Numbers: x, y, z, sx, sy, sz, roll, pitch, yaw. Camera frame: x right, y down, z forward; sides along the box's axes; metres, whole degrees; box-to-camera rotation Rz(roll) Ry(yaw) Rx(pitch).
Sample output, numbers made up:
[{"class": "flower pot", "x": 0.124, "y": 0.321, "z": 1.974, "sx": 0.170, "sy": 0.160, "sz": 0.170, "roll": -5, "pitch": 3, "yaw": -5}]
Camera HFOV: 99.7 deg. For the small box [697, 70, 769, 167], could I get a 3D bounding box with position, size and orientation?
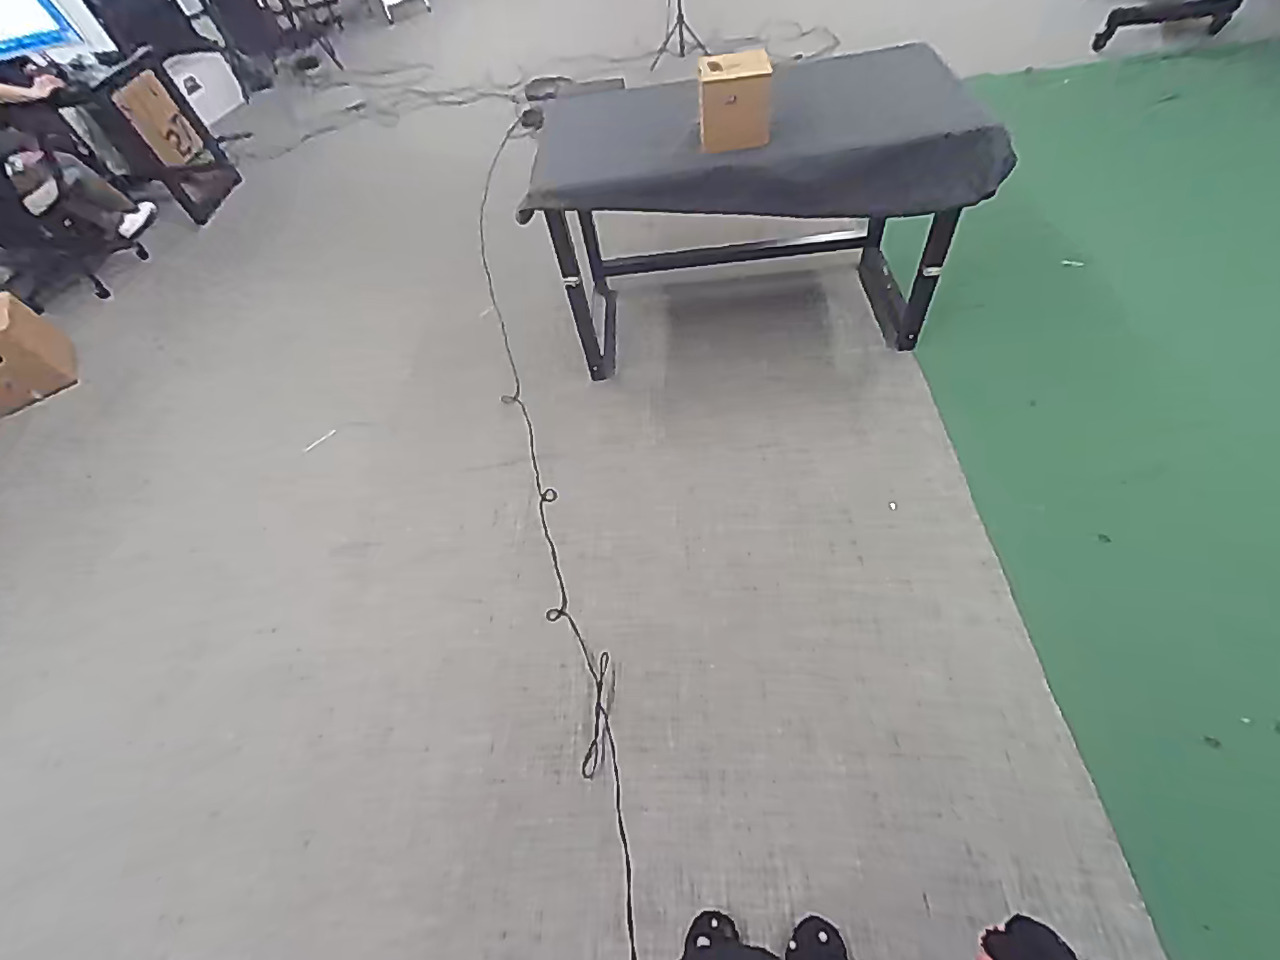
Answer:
[{"class": "small box", "x": 0.248, "y": -0.967, "z": 1.457, "sx": 0.179, "sy": 0.176, "sz": 0.168, "roll": -4, "pitch": 54, "yaw": 6}]
